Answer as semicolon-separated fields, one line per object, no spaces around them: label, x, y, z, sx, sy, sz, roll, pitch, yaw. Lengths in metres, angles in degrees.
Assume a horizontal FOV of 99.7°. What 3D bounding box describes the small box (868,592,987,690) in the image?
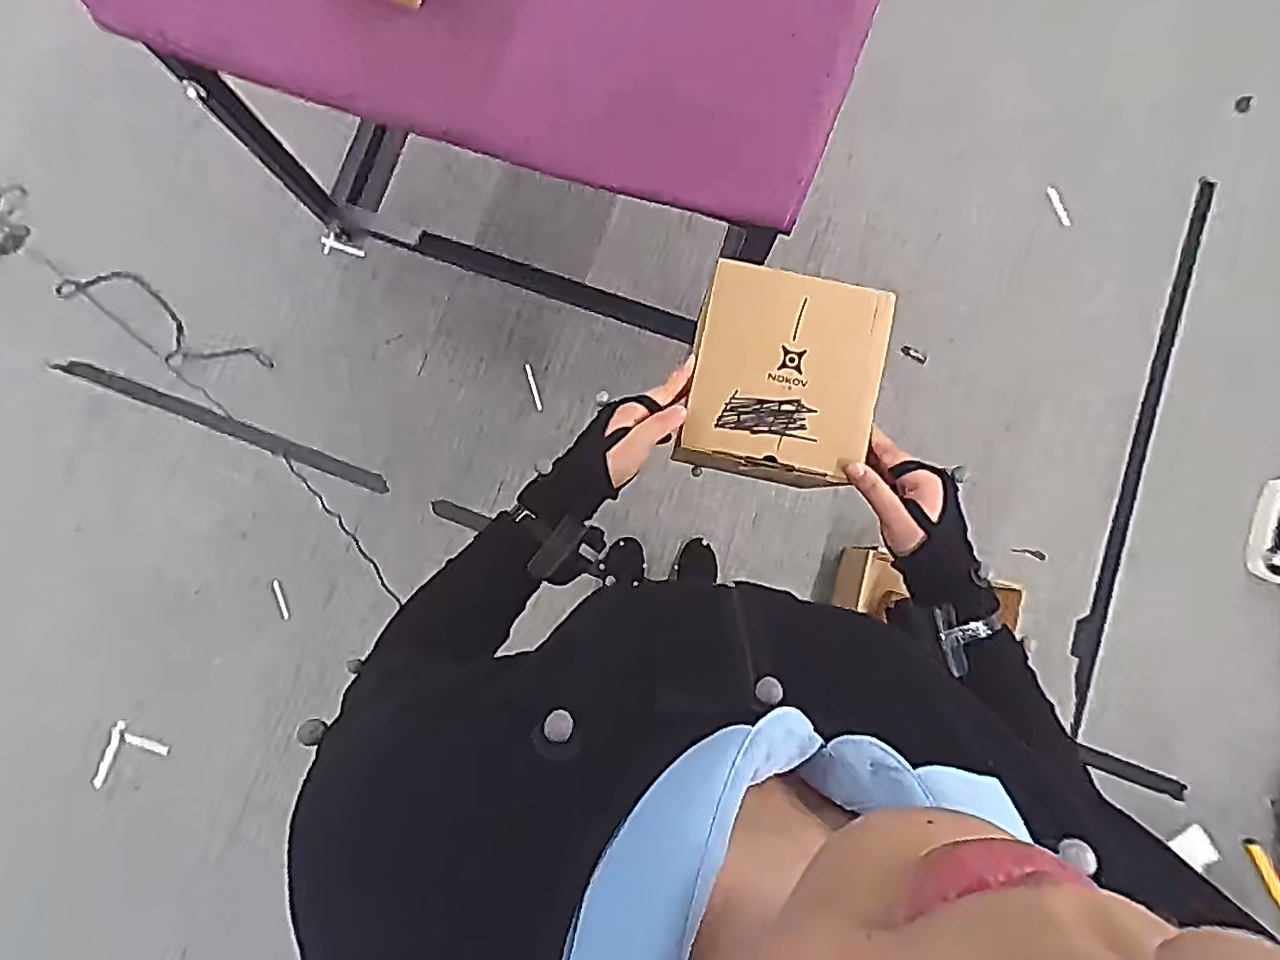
small box;0.719;0.397;1.369;0.179;0.176;0.168;26;86;1

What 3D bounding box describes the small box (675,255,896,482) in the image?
small box;0.132;-0.097;0.557;0.168;0.176;0.179;12;87;1
